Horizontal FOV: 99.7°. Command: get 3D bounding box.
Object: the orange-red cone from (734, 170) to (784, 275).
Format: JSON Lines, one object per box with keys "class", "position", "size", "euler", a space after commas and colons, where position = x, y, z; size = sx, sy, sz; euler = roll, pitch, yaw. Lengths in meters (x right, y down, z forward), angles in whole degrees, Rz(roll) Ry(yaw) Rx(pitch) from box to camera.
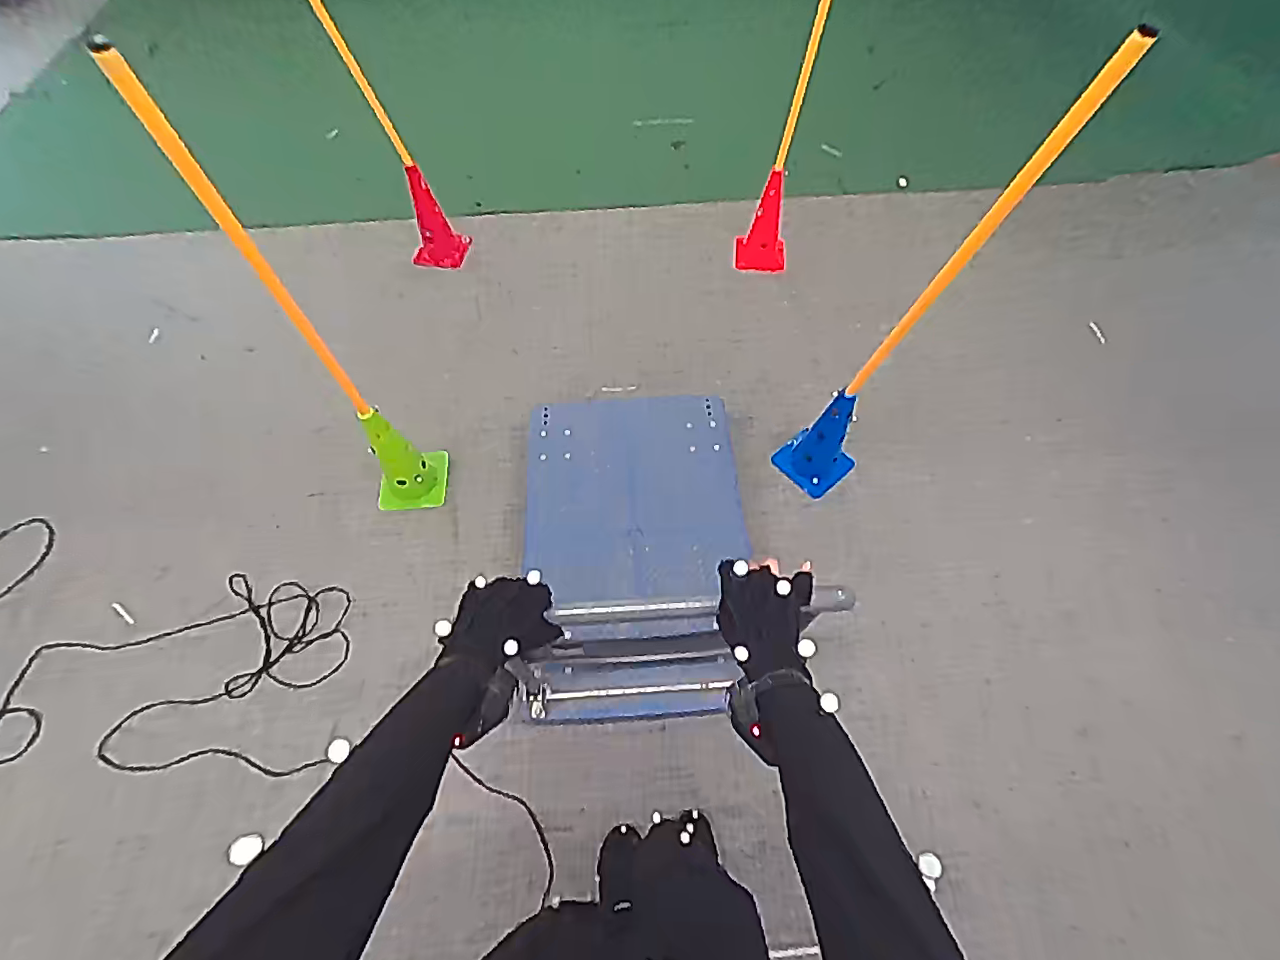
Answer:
{"class": "orange-red cone", "position": [0.481, -0.985, 2.045], "size": [0.198, 0.360, 0.199], "euler": [6, 61, 4]}
